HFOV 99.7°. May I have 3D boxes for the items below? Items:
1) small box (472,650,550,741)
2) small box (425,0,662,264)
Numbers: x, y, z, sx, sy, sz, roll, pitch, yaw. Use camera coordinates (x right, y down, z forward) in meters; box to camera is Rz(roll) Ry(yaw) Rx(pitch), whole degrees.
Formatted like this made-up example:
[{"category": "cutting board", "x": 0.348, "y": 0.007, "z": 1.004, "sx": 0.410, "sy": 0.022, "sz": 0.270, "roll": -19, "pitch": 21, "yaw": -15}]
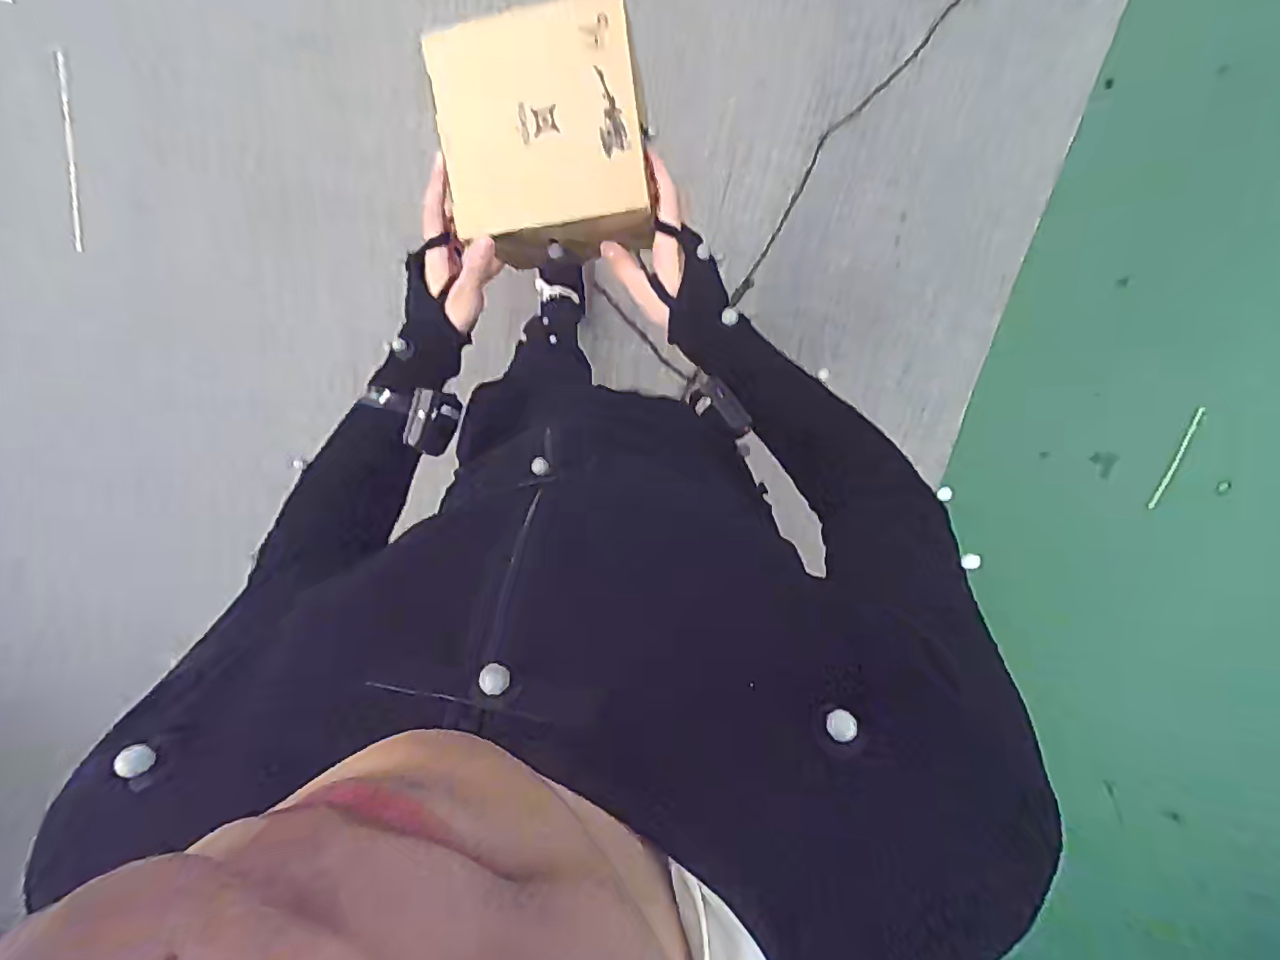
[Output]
[{"category": "small box", "x": -0.365, "y": 0.613, "z": 1.554, "sx": 0.179, "sy": 0.176, "sz": 0.168, "roll": 10, "pitch": 105, "yaw": 0}, {"category": "small box", "x": -0.078, "y": -0.322, "z": 0.533, "sx": 0.179, "sy": 0.176, "sz": 0.168, "roll": -6, "pitch": 100, "yaw": 8}]
